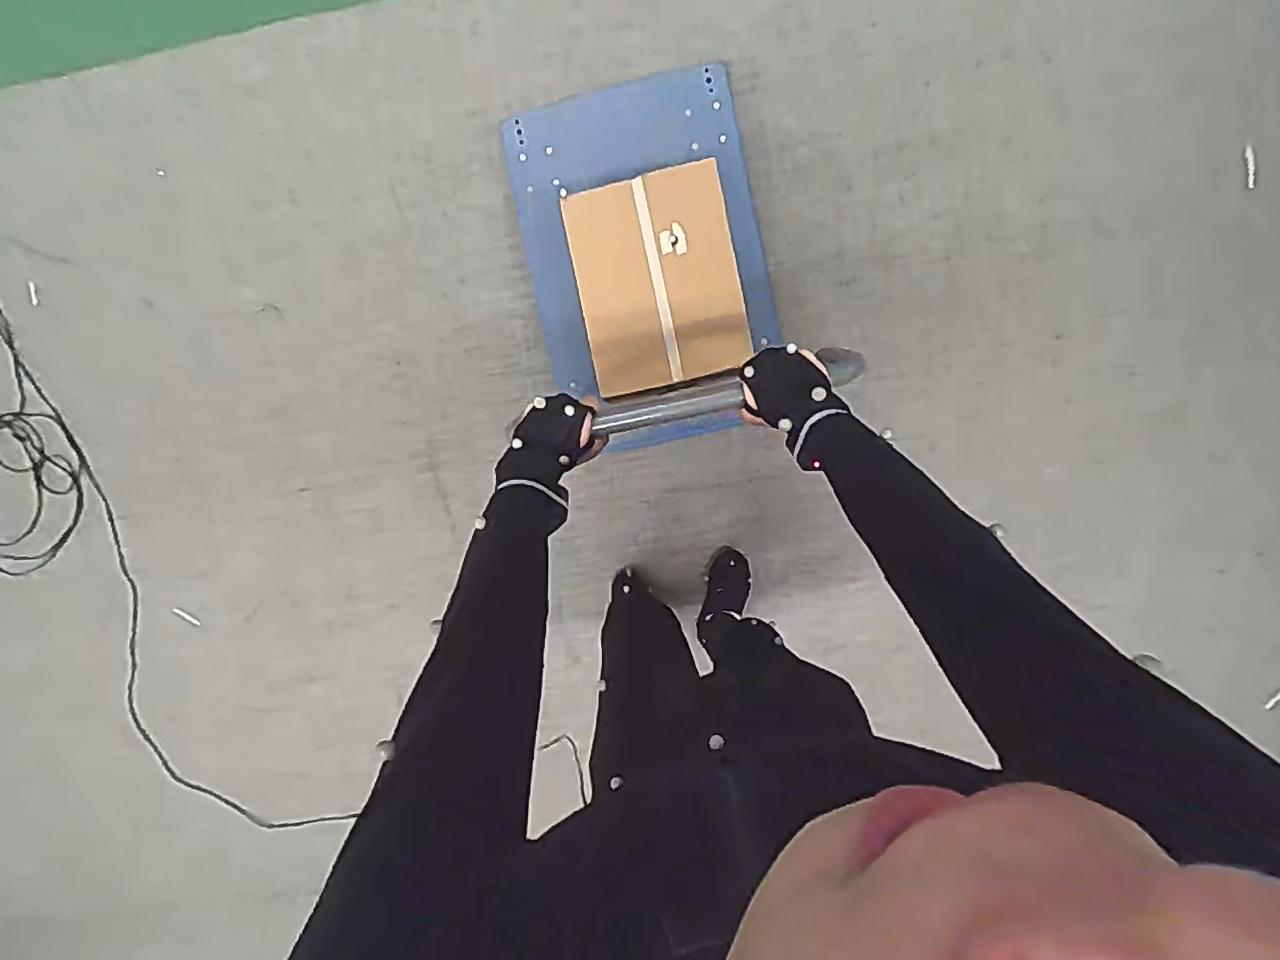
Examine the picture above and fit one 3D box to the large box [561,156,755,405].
[{"bbox_3d":[0.048,-0.404,1.202,0.320,0.320,0.408,-11,92,5],"label":"large box"}]
